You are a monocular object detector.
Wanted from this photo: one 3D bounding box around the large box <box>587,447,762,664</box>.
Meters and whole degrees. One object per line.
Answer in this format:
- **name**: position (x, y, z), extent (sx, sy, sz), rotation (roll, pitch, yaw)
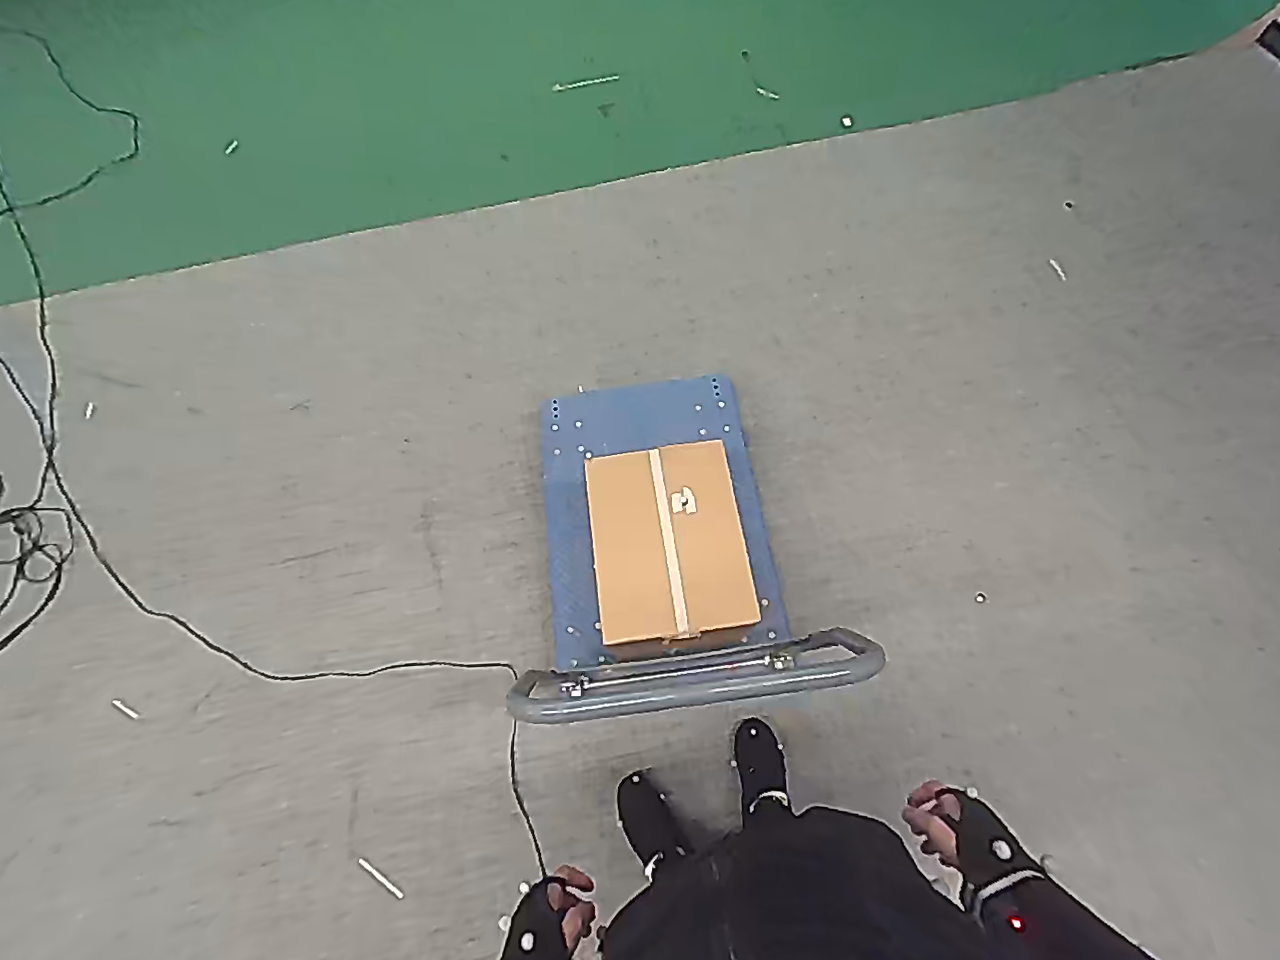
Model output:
- **large box**: position (0.069, 0.187, 1.262), extent (0.320, 0.320, 0.408), rotation (-8, 66, -1)
